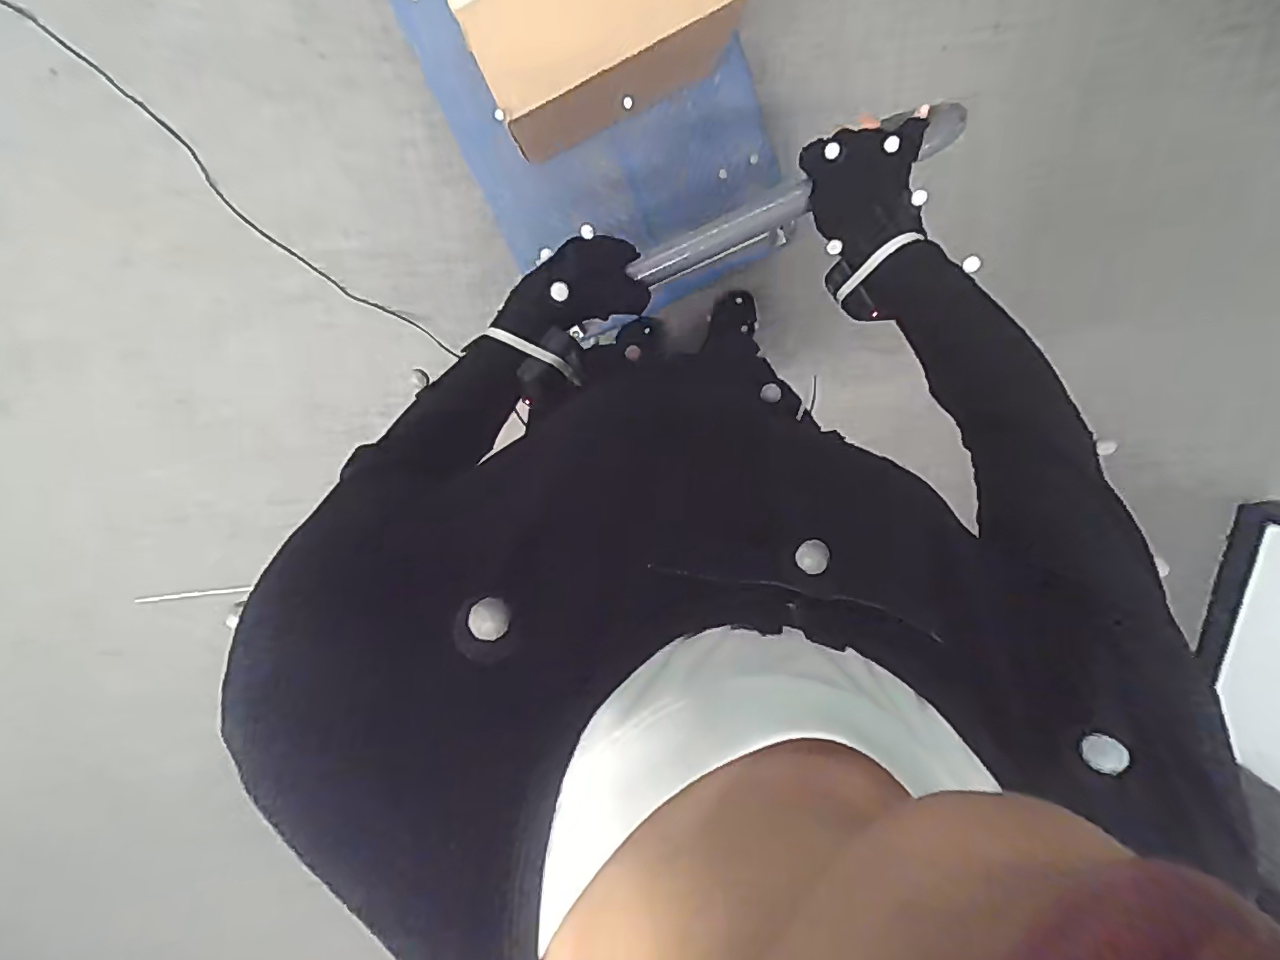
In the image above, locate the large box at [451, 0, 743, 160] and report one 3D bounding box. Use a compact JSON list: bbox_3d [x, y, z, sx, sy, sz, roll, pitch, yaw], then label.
[{"bbox_3d":[-0.089,-0.803,0.890,0.408,0.320,0.320,-25,109,6],"label":"large box"}]
